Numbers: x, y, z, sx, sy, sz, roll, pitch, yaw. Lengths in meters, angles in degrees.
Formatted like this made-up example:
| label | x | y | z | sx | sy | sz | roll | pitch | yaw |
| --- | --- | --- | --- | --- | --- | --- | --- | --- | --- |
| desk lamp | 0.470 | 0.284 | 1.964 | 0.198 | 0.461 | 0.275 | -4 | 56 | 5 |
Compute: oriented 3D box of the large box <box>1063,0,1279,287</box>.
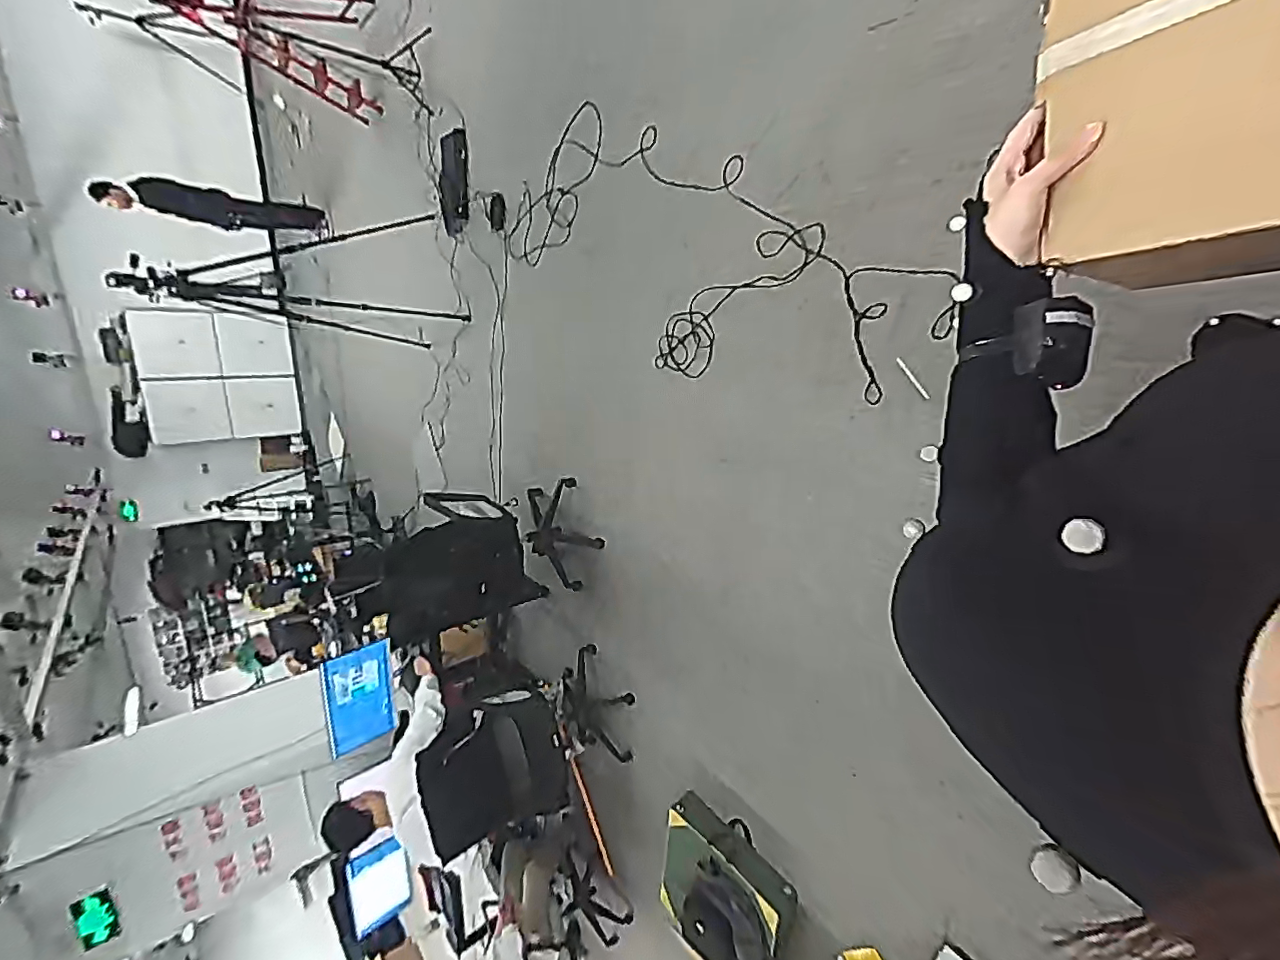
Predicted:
| label | x | y | z | sx | sy | sz | roll | pitch | yaw |
| --- | --- | --- | --- | --- | --- | --- | --- | --- | --- |
| large box | 0.573 | -0.338 | 0.362 | 0.408 | 0.320 | 0.320 | 7 | 105 | 50 |
